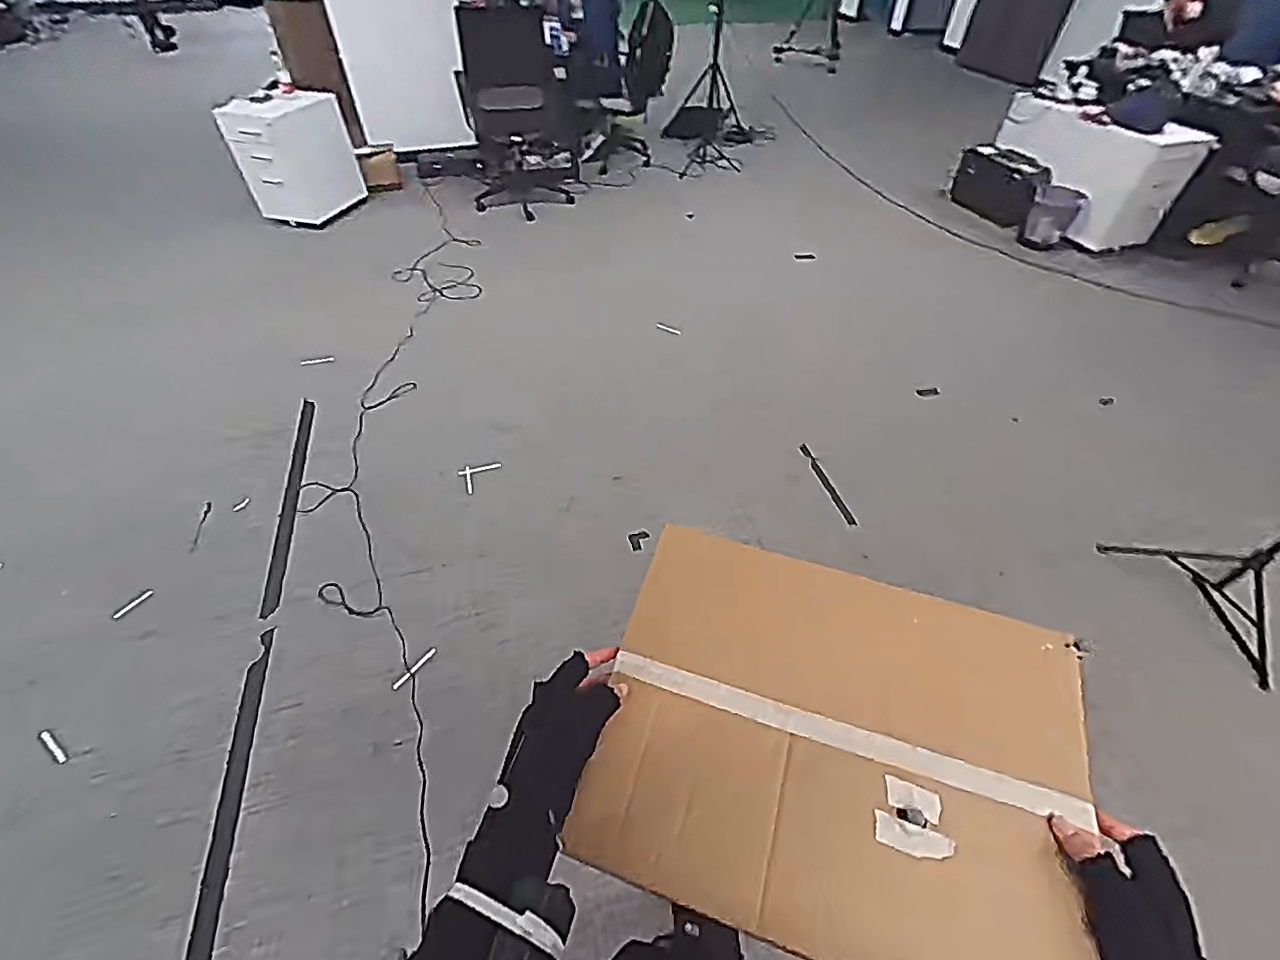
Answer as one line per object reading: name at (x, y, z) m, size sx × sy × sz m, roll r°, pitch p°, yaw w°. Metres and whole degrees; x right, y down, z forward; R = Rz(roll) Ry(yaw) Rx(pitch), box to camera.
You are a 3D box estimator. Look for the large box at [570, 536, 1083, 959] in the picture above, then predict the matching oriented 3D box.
large box at (0.176, 0.311, 0.616) m, size 0.408 × 0.320 × 0.320 m, roll 15°, pitch 59°, yaw 12°
